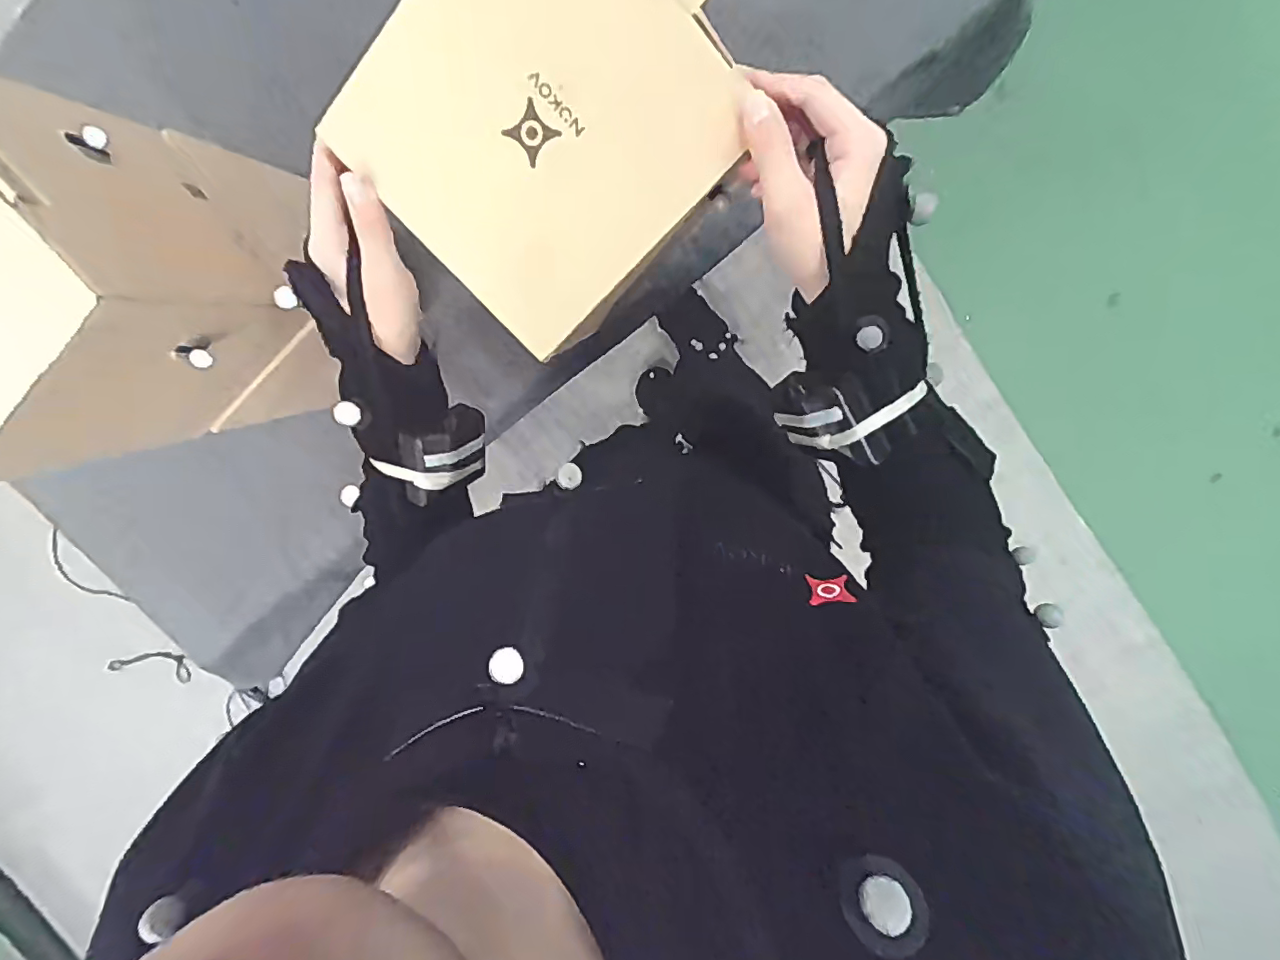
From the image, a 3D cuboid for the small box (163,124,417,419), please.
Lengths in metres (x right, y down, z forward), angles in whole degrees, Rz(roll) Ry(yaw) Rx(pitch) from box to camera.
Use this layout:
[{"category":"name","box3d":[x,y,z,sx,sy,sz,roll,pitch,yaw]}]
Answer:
[{"category":"small box","box3d":[-0.361,-0.184,0.521,0.168,0.176,0.179,-36,100,14]}]

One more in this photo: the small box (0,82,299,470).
[{"category":"small box","box3d":[-0.380,-0.135,0.368,0.179,0.176,0.168,-38,98,16]}]
